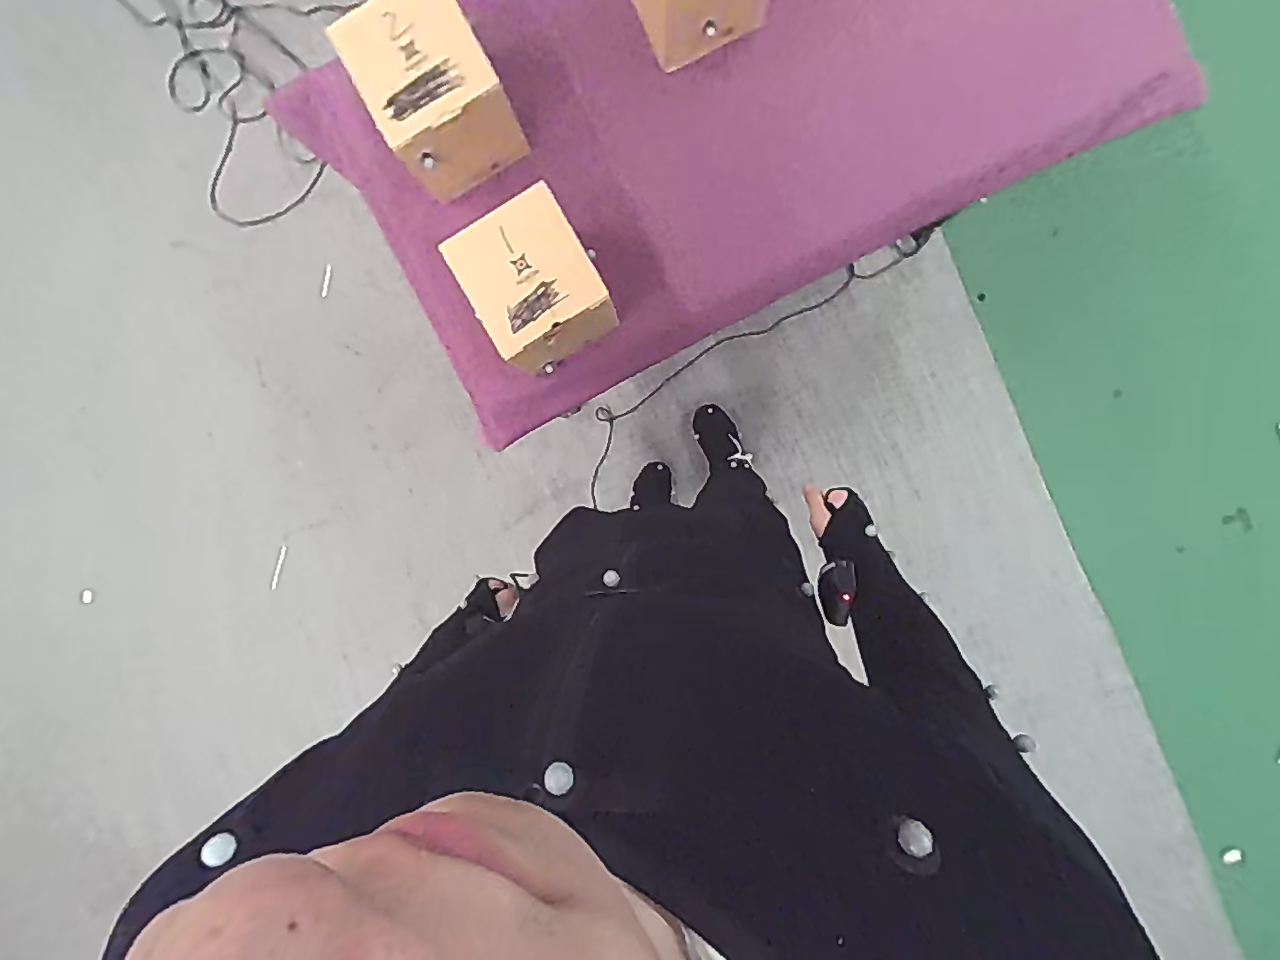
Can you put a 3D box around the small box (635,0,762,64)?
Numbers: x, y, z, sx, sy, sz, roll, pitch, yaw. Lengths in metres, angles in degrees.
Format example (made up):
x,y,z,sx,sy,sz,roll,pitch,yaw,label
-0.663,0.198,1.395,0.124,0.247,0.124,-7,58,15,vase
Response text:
x,y,z,sx,sy,sz,roll,pitch,yaw,label
0.070,-0.737,0.741,0.168,0.176,0.179,-25,95,3,small box

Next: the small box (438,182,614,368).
x,y,z,sx,sy,sz,roll,pitch,yaw,label
-0.150,-0.277,0.782,0.168,0.176,0.179,-30,92,3,small box
